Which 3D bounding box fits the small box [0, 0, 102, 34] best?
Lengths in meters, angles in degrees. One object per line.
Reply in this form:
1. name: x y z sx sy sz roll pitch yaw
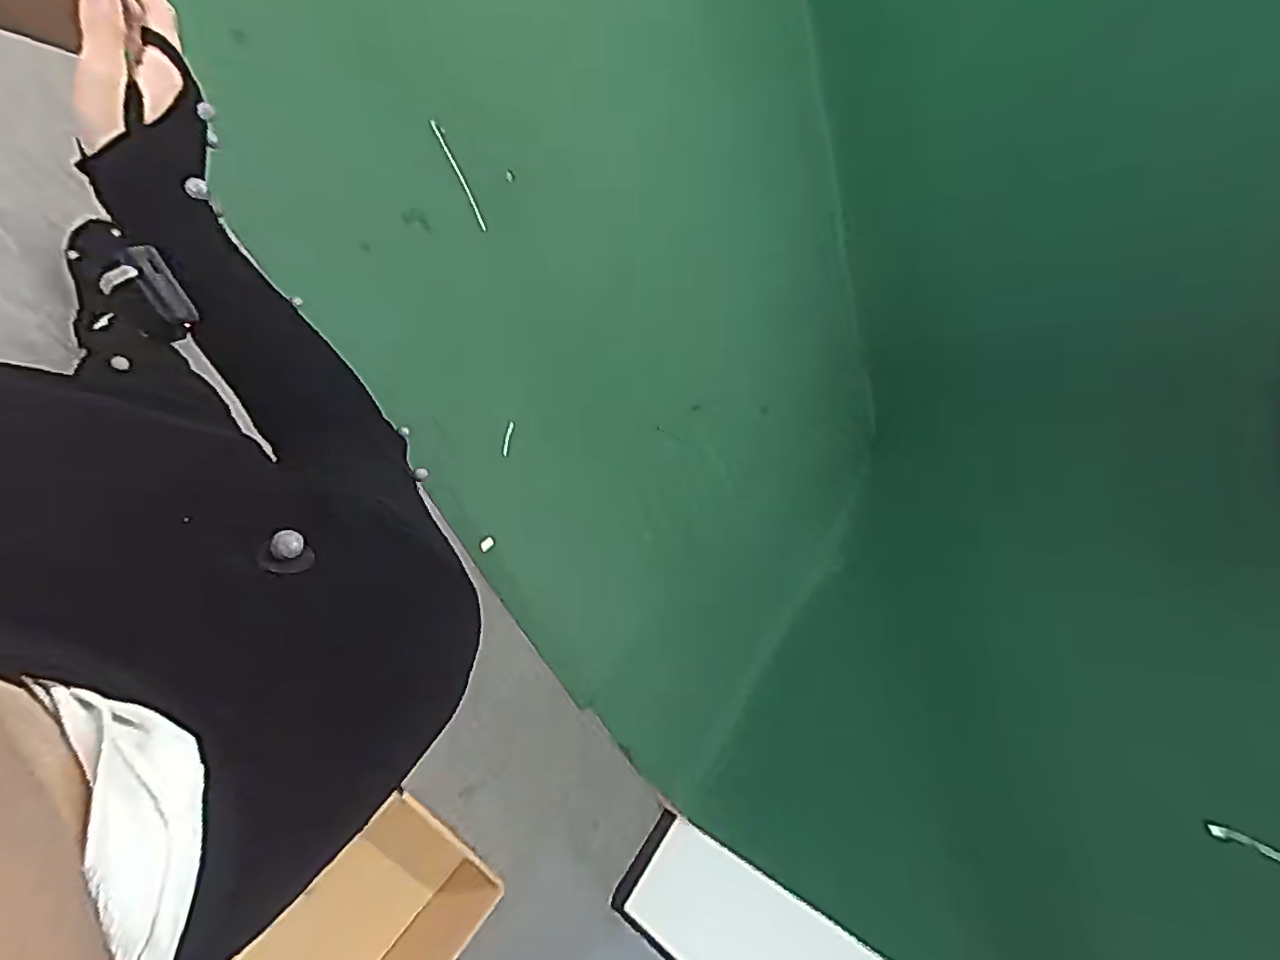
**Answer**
1. small box: -0.454 -0.418 0.328 0.179 0.176 0.168 -8 107 -47
